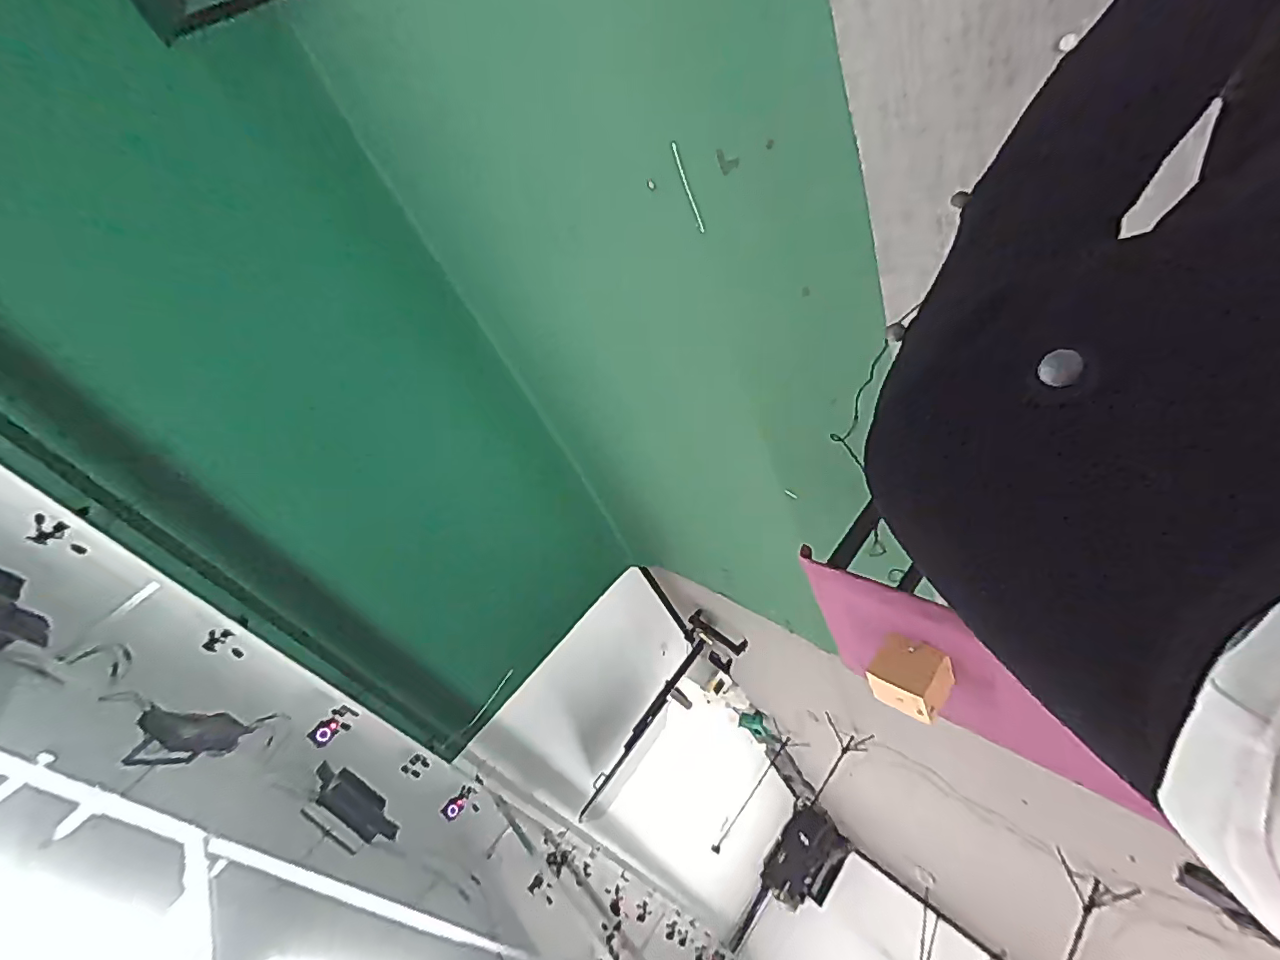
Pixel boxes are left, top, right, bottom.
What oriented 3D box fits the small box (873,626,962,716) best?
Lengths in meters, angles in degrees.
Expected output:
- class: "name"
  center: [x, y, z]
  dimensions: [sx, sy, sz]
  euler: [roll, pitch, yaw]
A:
- class: "small box"
  center: [0.853, 0.576, 1.659]
  dimensions: [0.179, 0.176, 0.168]
  euler: [18, 148, 49]
